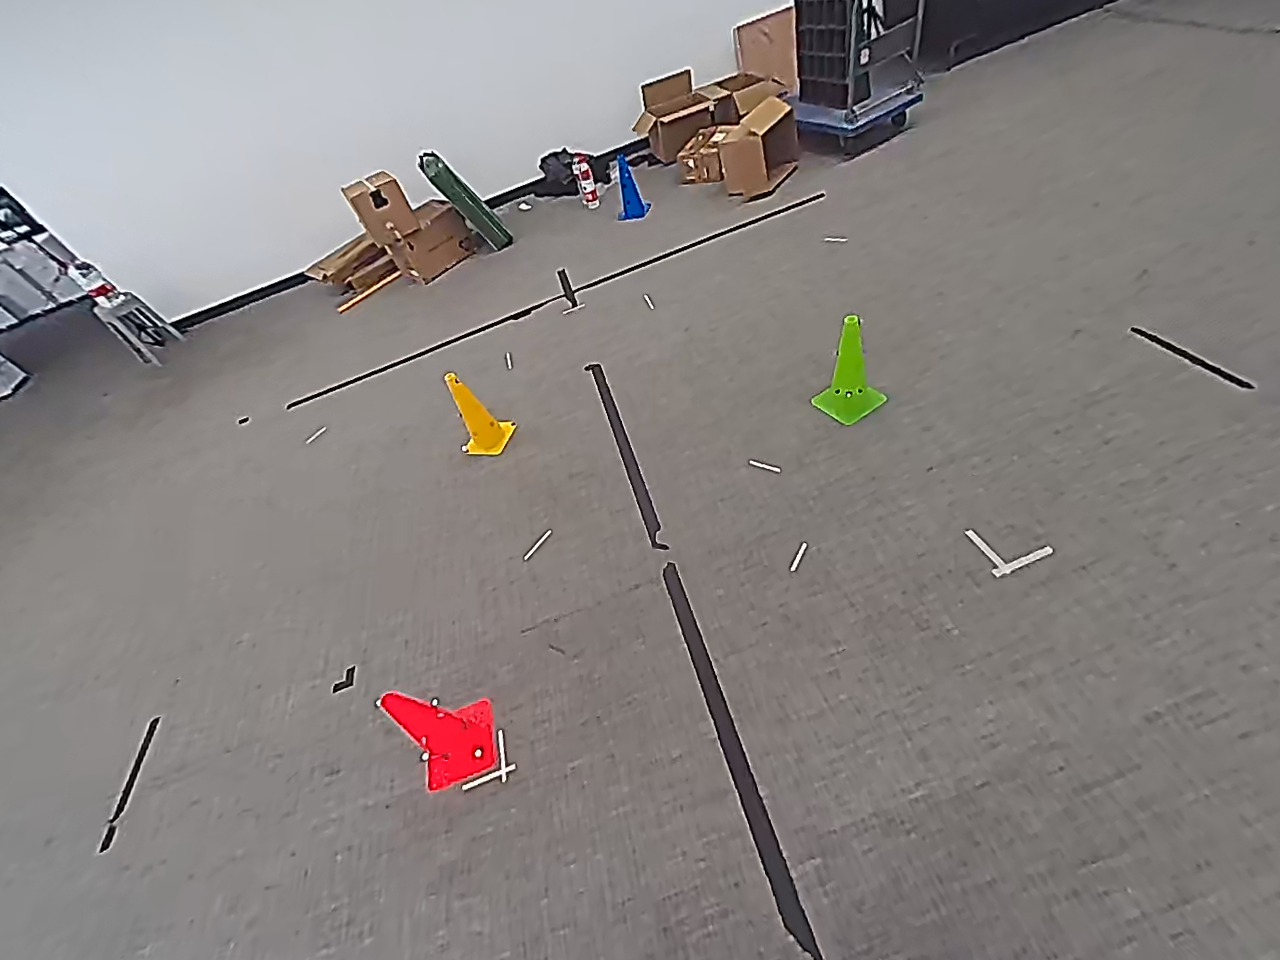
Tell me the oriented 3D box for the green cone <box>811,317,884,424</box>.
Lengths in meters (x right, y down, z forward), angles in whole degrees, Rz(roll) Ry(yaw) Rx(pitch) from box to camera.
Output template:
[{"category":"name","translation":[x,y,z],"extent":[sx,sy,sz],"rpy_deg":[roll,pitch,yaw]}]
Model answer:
[{"category":"green cone","translation":[0.729,-0.408,1.896],"extent":[0.200,0.368,0.202],"rpy_deg":[-33,48,-11]}]

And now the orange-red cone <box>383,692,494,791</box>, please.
[{"category":"orange-red cone","translation":[-0.550,0.635,1.403],"extent":[0.198,0.360,0.199],"rpy_deg":[-21,44,-1]}]
